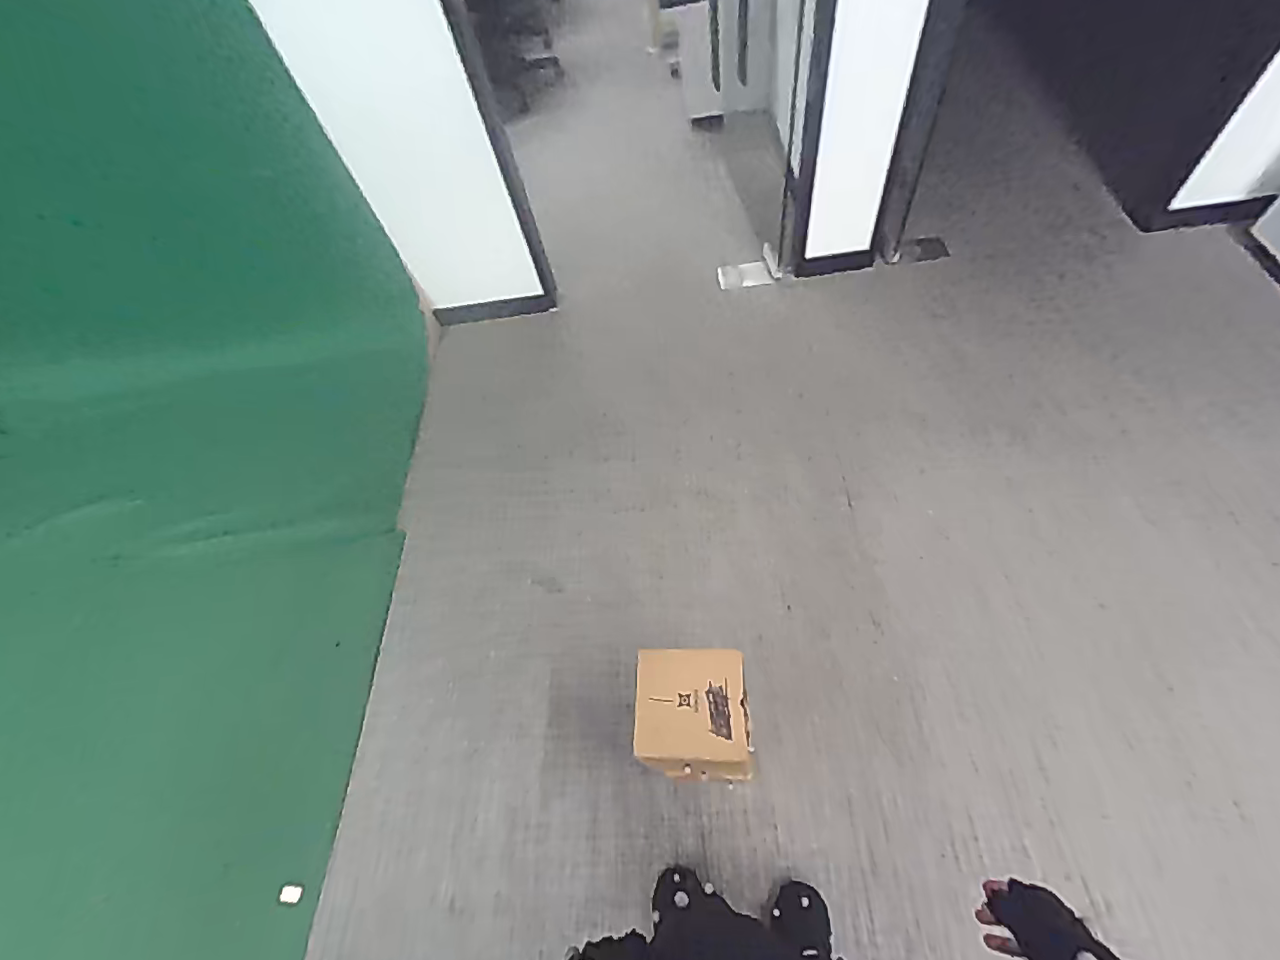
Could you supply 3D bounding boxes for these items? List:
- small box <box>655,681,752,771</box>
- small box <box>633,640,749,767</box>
[{"bbox_3d":[0.127,0.473,1.068,0.179,0.176,0.168,-1,58,9],"label":"small box"},{"bbox_3d":[0.095,0.387,0.928,0.179,0.176,0.168,1,57,11],"label":"small box"}]
